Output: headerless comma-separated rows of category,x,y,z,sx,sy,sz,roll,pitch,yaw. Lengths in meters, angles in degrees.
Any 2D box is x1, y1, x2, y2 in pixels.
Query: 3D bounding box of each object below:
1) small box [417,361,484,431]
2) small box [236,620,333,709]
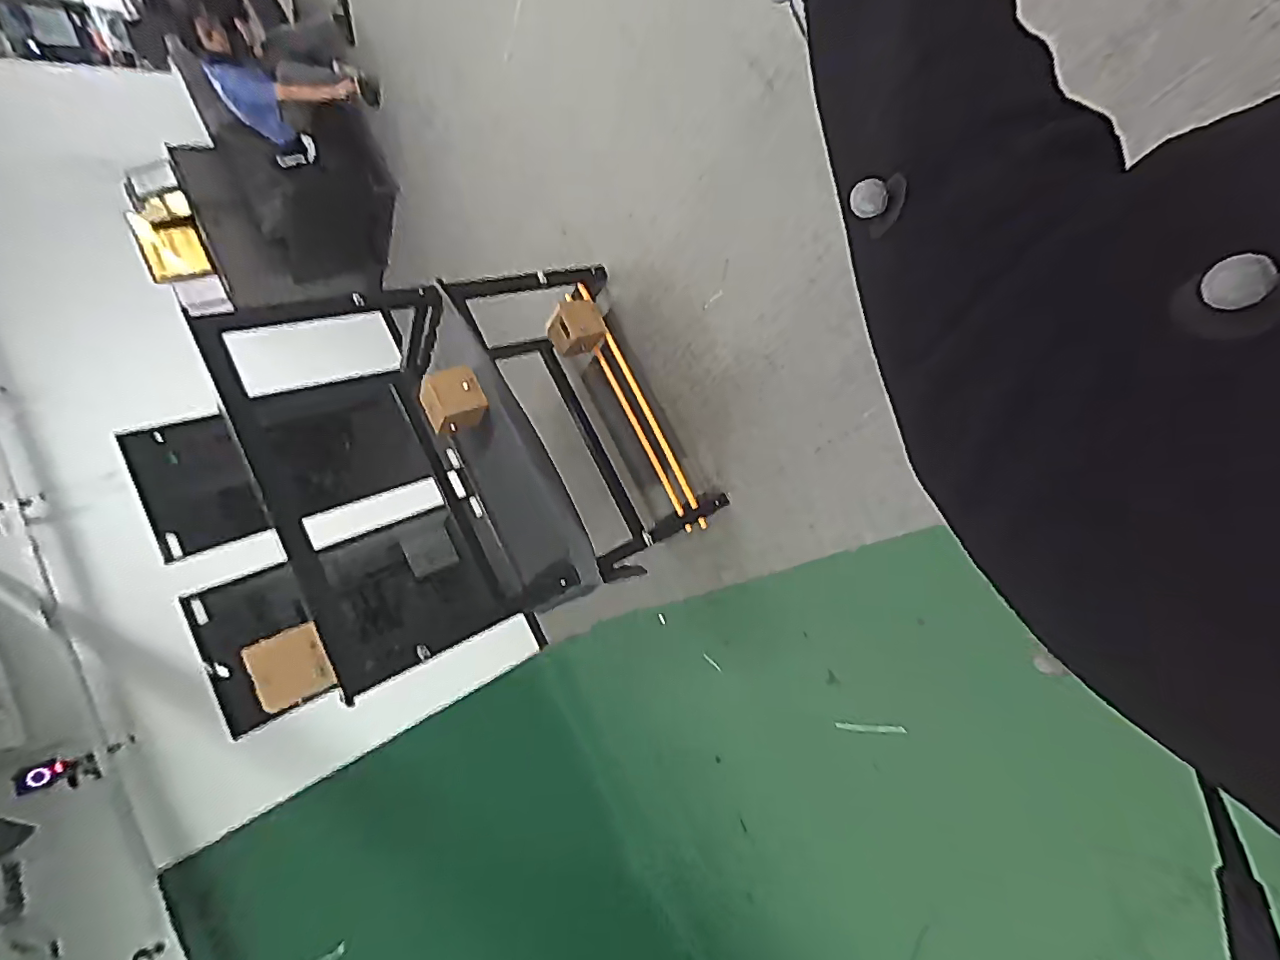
small box,-0.678,-0.301,1.934,0.168,0.176,0.179,62,146,6
small box,-0.944,0.492,1.451,0.168,0.176,0.179,62,146,8
